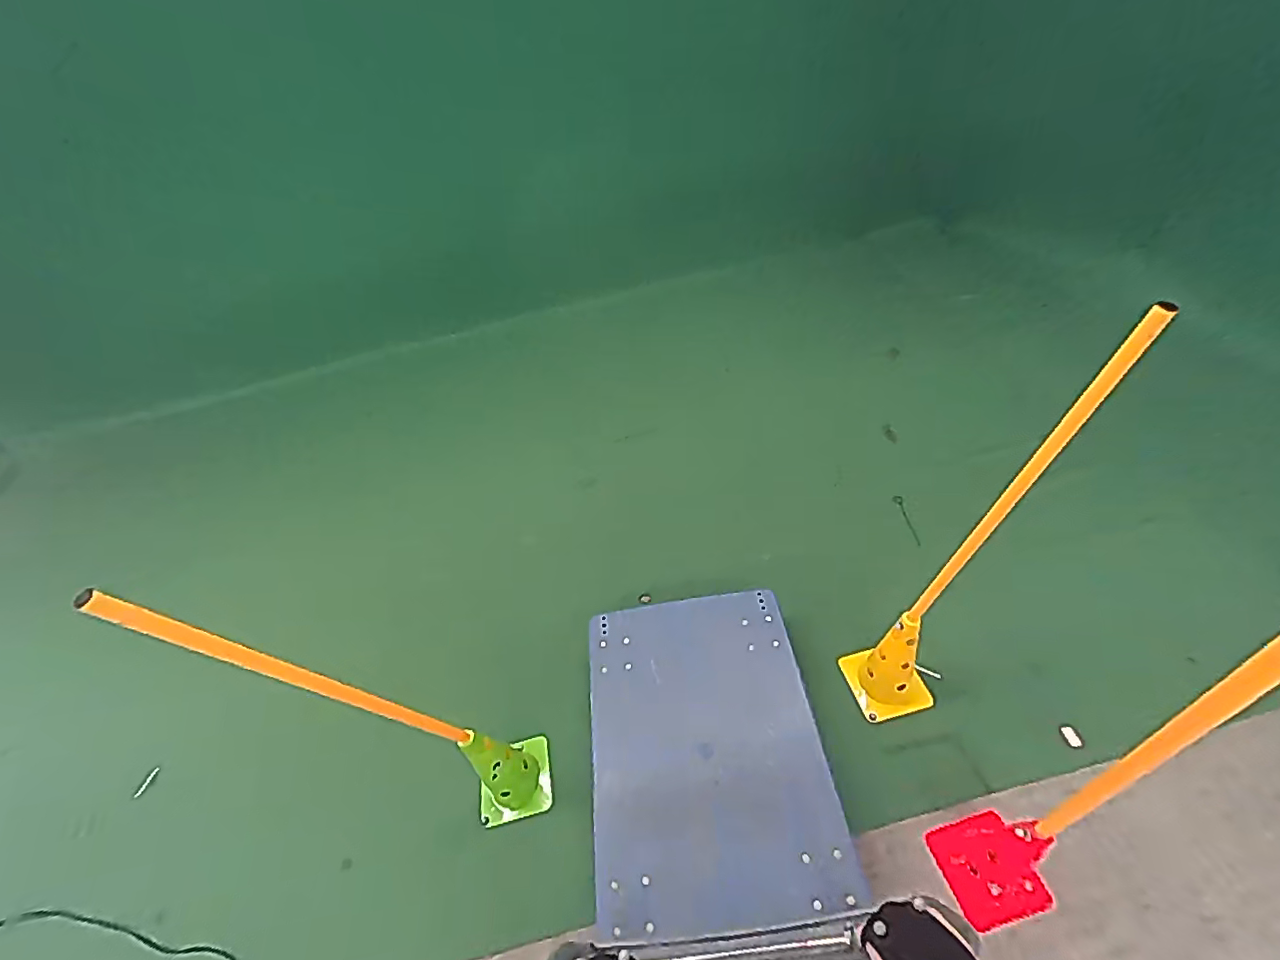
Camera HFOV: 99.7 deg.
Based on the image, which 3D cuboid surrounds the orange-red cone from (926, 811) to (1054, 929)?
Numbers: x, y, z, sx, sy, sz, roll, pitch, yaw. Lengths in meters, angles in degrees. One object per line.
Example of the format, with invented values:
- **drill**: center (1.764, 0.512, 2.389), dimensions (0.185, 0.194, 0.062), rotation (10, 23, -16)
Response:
- **orange-red cone**: center (0.763, 0.763, 1.115), dimensions (0.198, 0.360, 0.199), rotation (-14, 43, -4)

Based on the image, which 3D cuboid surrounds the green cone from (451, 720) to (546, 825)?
- **green cone**: center (-0.393, 0.713, 1.394), dimensions (0.200, 0.368, 0.202), rotation (-16, 44, -3)
